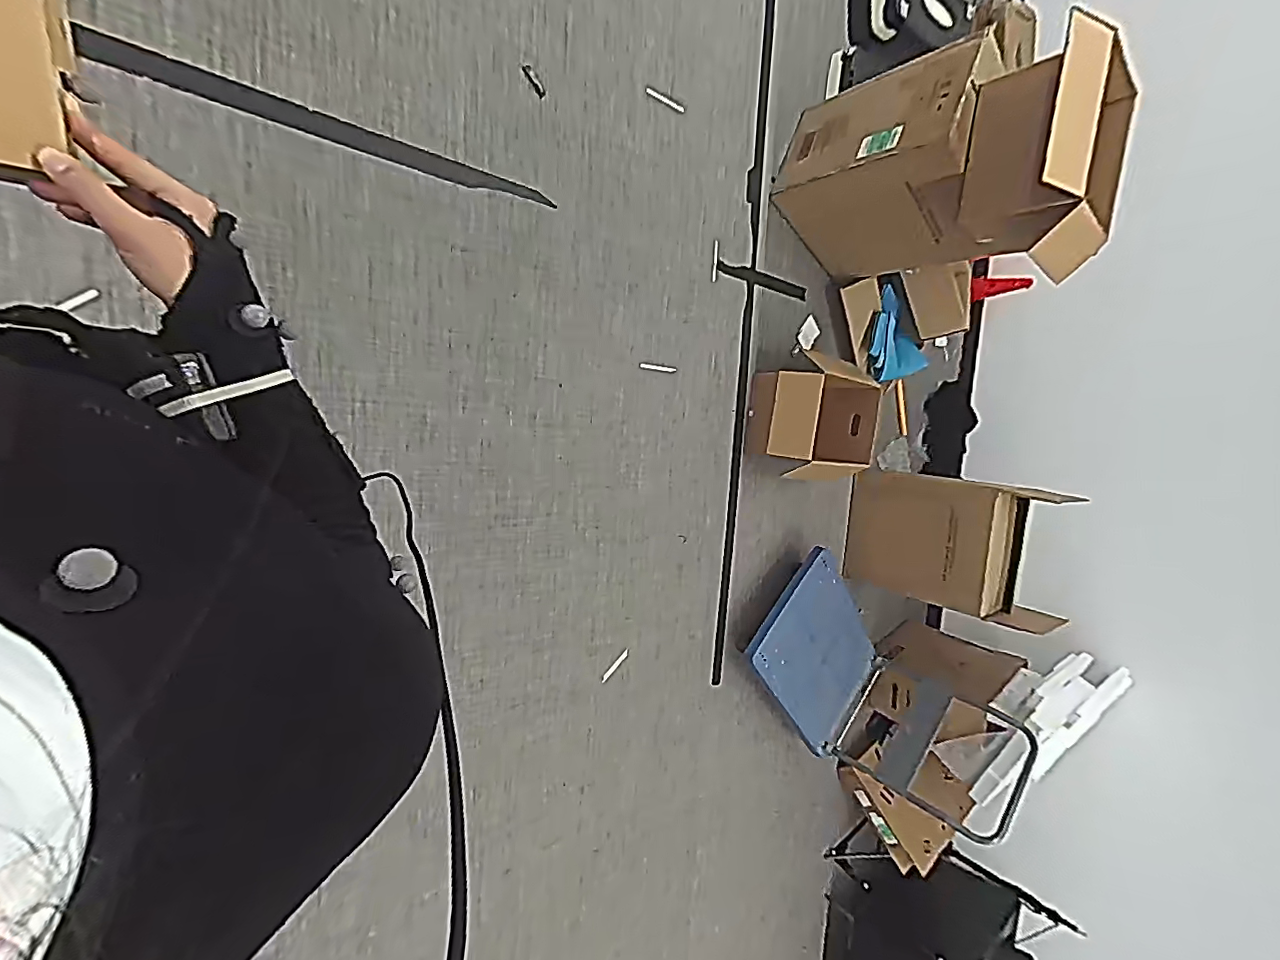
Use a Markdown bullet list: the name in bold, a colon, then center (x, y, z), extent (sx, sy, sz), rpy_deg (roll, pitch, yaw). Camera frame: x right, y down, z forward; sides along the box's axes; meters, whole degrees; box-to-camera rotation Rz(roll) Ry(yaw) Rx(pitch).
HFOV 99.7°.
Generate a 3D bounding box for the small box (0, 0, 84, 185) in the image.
- **small box**: center (-0.434, -0.270, 0.289), extent (0.179, 0.176, 0.168), rpy_deg (-6, 112, -39)
